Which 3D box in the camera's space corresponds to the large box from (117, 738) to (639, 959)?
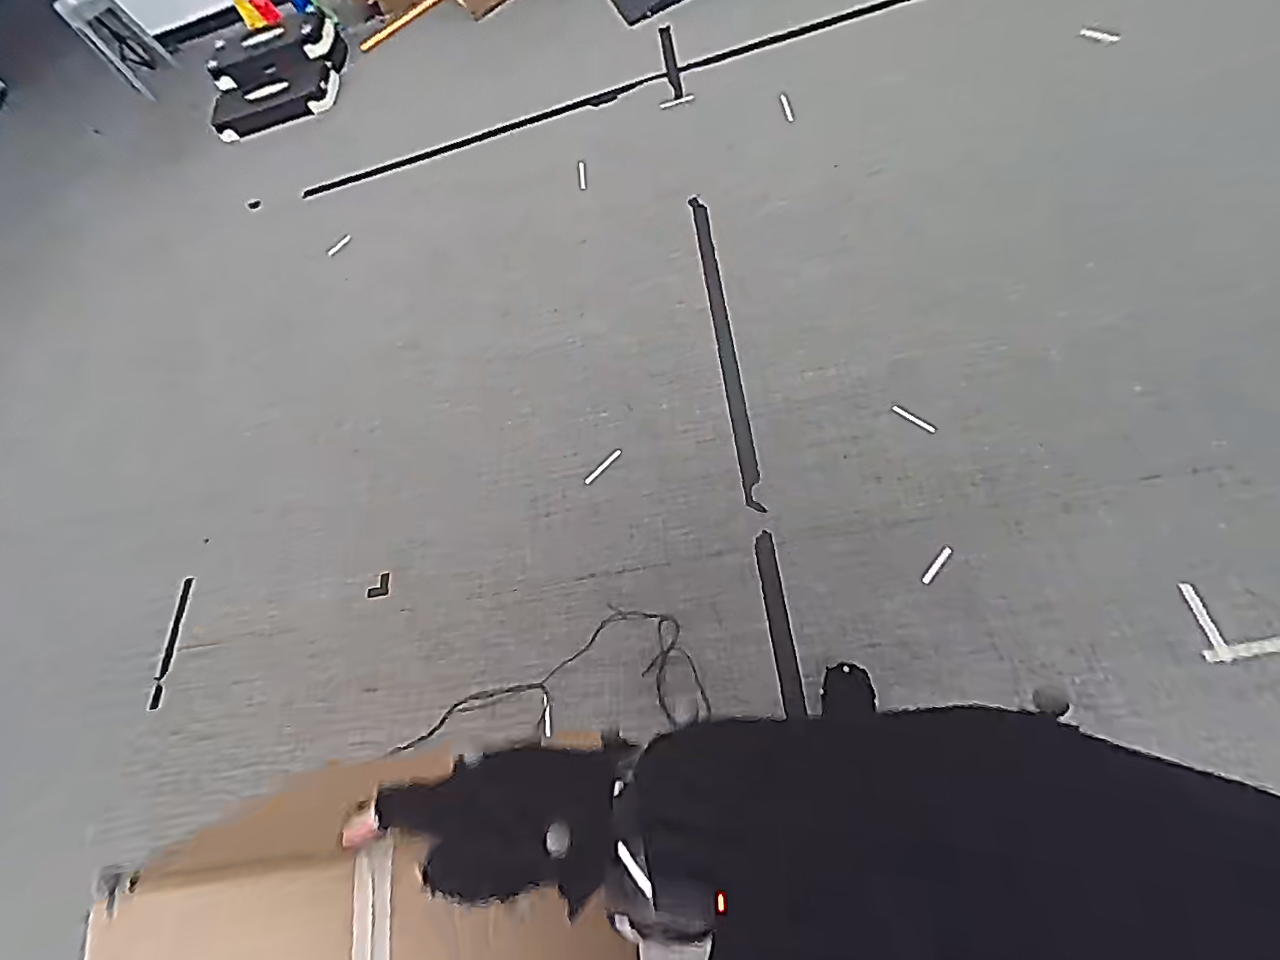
[{"bbox_3d":[-0.156,0.470,0.440,0.320,0.320,0.408,-5,73,-10],"label":"large box"}]
